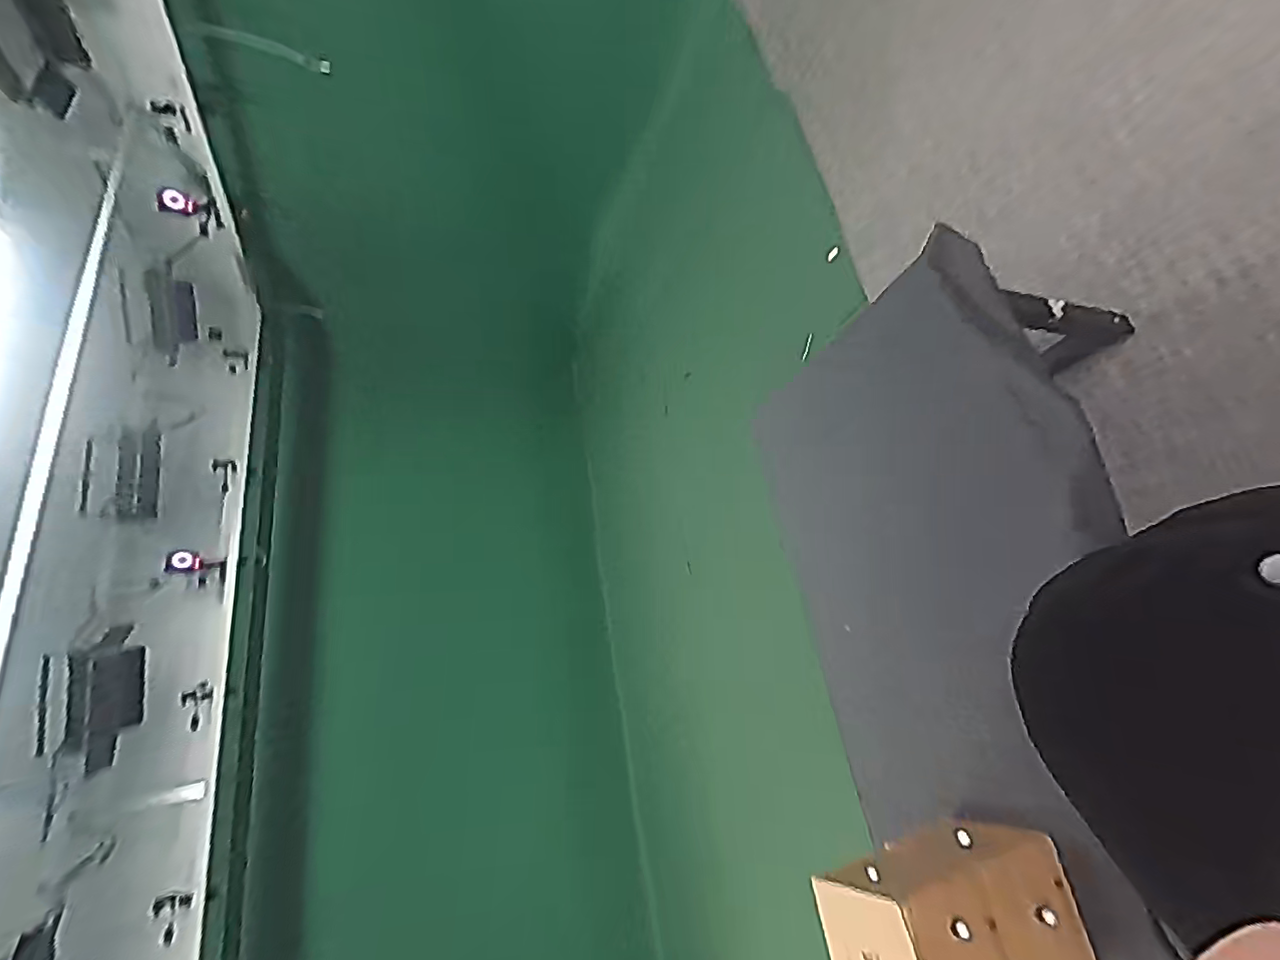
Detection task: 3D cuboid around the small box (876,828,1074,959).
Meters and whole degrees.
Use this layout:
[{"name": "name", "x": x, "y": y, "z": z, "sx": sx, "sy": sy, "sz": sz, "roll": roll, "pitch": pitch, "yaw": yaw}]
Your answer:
[{"name": "small box", "x": 0.501, "y": 0.645, "z": 0.812, "sx": 0.179, "sy": 0.176, "sz": 0.168, "roll": 136, "pitch": 131, "yaw": -56}]

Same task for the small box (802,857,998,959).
[{"name": "small box", "x": 0.359, "y": 0.636, "z": 0.732, "sx": 0.179, "sy": 0.176, "sz": 0.168, "roll": 131, "pitch": 135, "yaw": -56}]
